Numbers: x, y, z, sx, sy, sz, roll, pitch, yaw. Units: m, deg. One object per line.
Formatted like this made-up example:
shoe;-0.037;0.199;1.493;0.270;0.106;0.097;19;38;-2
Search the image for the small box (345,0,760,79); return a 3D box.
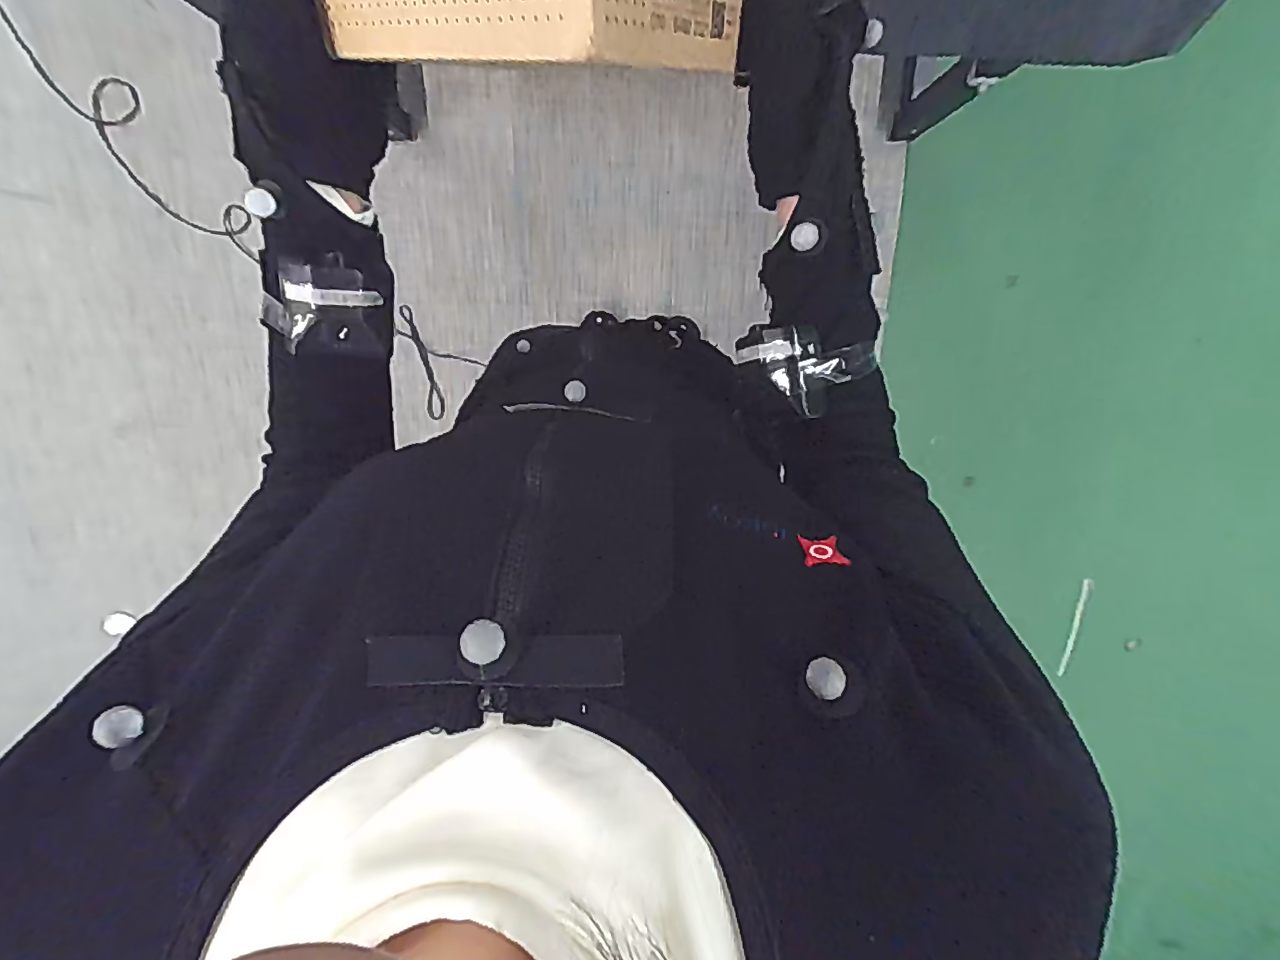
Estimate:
small box;-0.043;-0.307;0.263;0.179;0.168;0.176;23;132;24
